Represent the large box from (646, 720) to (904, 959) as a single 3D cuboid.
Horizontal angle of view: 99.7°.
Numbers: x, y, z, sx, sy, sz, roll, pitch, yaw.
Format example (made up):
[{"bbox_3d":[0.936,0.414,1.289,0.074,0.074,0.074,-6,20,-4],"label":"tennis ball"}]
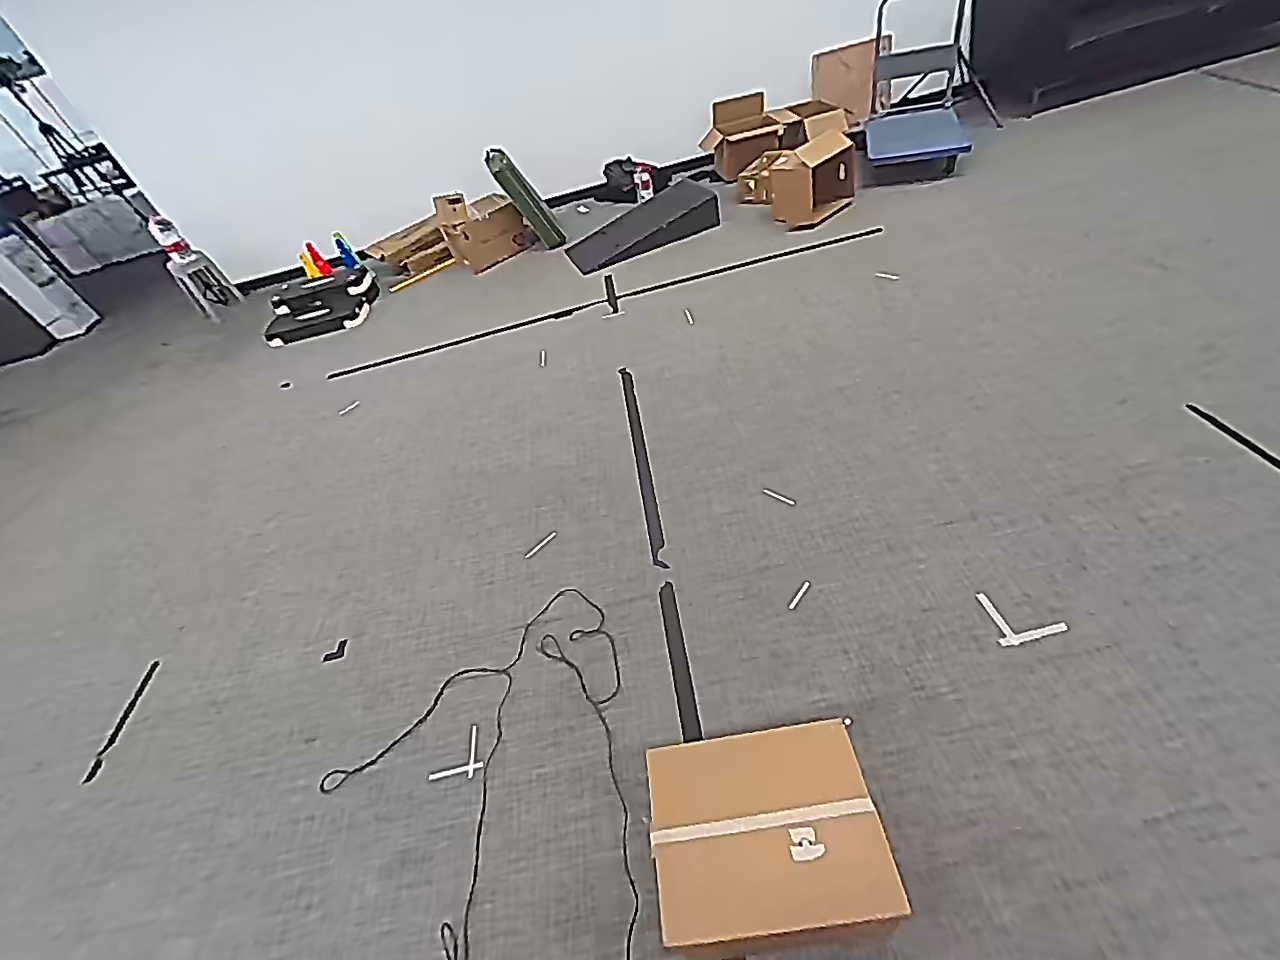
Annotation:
[{"bbox_3d":[0.245,0.732,1.088,0.408,0.320,0.320,-11,44,4],"label":"large box"}]
